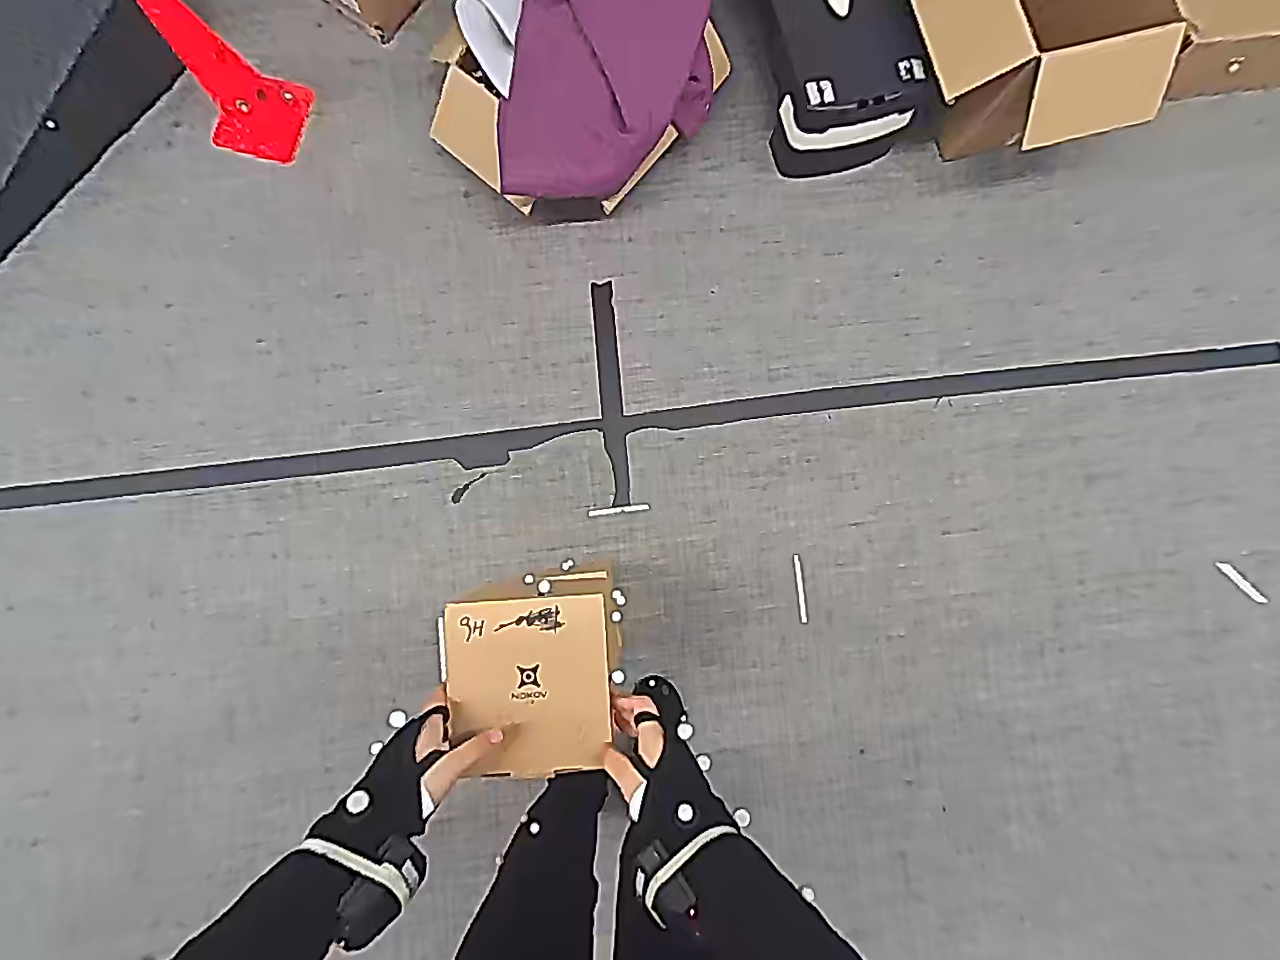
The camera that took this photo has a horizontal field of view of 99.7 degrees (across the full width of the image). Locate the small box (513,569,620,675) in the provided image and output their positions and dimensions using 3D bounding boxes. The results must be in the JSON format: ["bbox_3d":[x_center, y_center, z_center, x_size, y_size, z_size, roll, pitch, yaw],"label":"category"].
[{"bbox_3d":[-0.124,0.252,0.945,0.168,0.176,0.179,-6,85,-1],"label":"small box"}]

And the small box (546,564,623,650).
[{"bbox_3d":[-0.133,0.269,1.108,0.179,0.176,0.168,-10,85,-3],"label":"small box"}]

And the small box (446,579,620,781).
[{"bbox_3d":[-0.110,0.214,0.621,0.168,0.176,0.179,-3,86,-1],"label":"small box"}]
